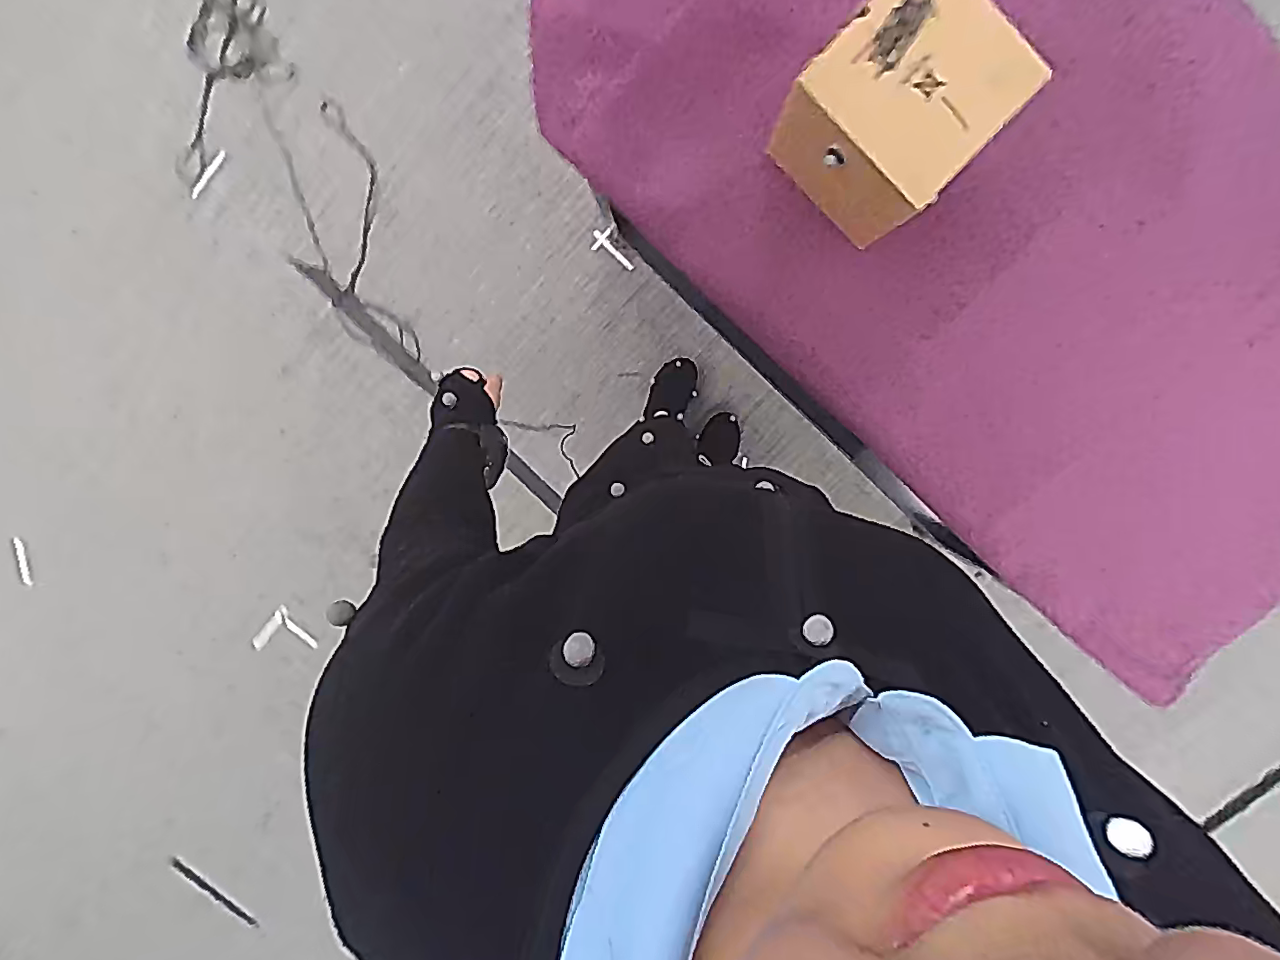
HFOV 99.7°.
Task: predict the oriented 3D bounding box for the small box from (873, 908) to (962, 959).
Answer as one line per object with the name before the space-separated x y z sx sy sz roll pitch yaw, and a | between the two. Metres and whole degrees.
small box | 0.731 1.274 1.395 0.168 0.176 0.179 40 99 -4

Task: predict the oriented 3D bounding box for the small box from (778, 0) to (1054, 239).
small box | 0.278 -0.398 0.592 0.179 0.176 0.168 44 100 -6
